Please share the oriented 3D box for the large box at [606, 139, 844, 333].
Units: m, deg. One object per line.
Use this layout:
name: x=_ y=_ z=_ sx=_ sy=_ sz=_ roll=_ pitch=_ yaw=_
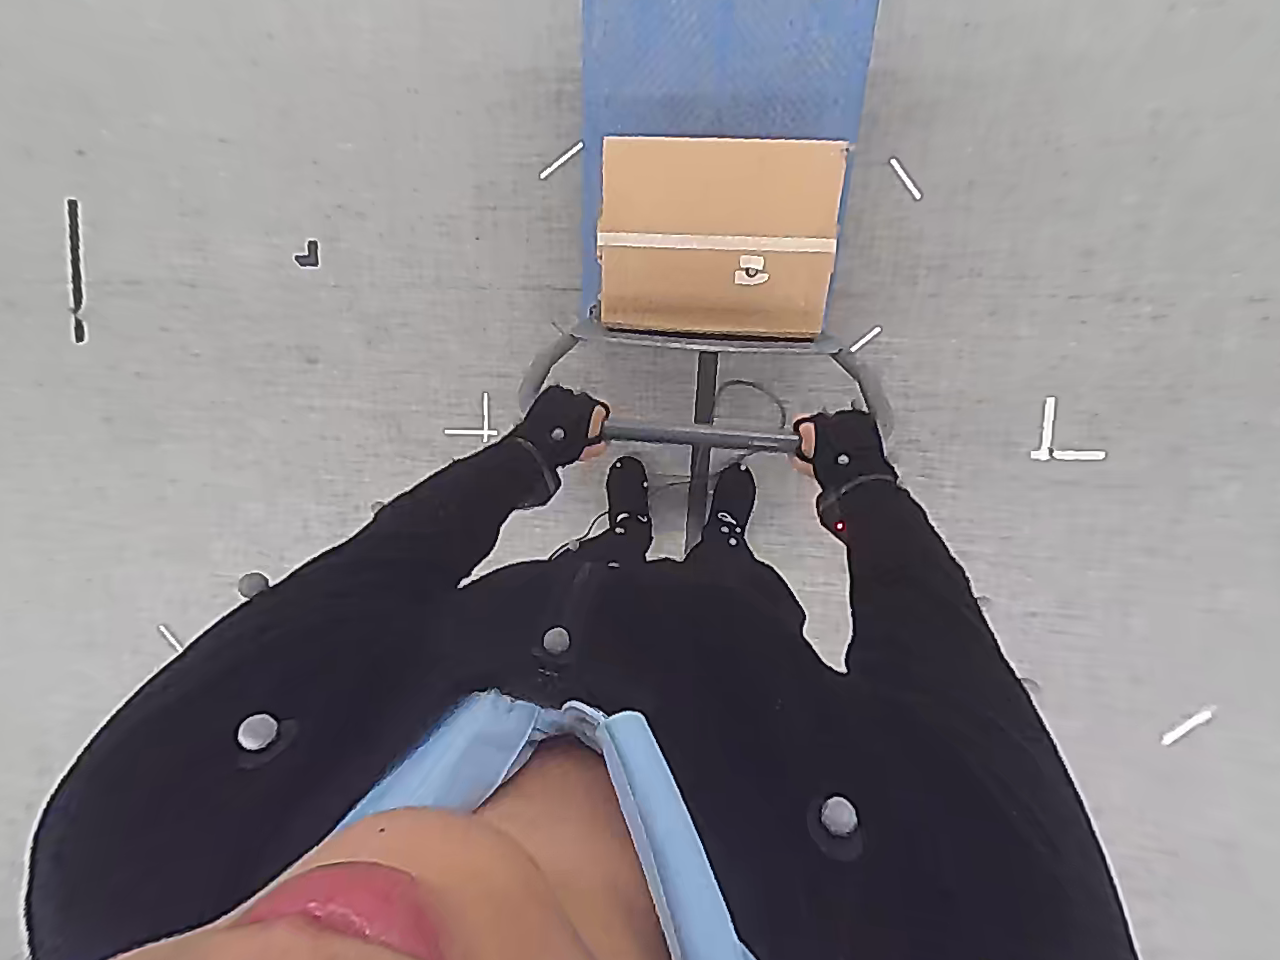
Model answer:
large box: x=0.149 y=-0.476 z=1.095 sx=0.408 sy=0.320 sz=0.320 roll=3 pitch=112 yaw=4
